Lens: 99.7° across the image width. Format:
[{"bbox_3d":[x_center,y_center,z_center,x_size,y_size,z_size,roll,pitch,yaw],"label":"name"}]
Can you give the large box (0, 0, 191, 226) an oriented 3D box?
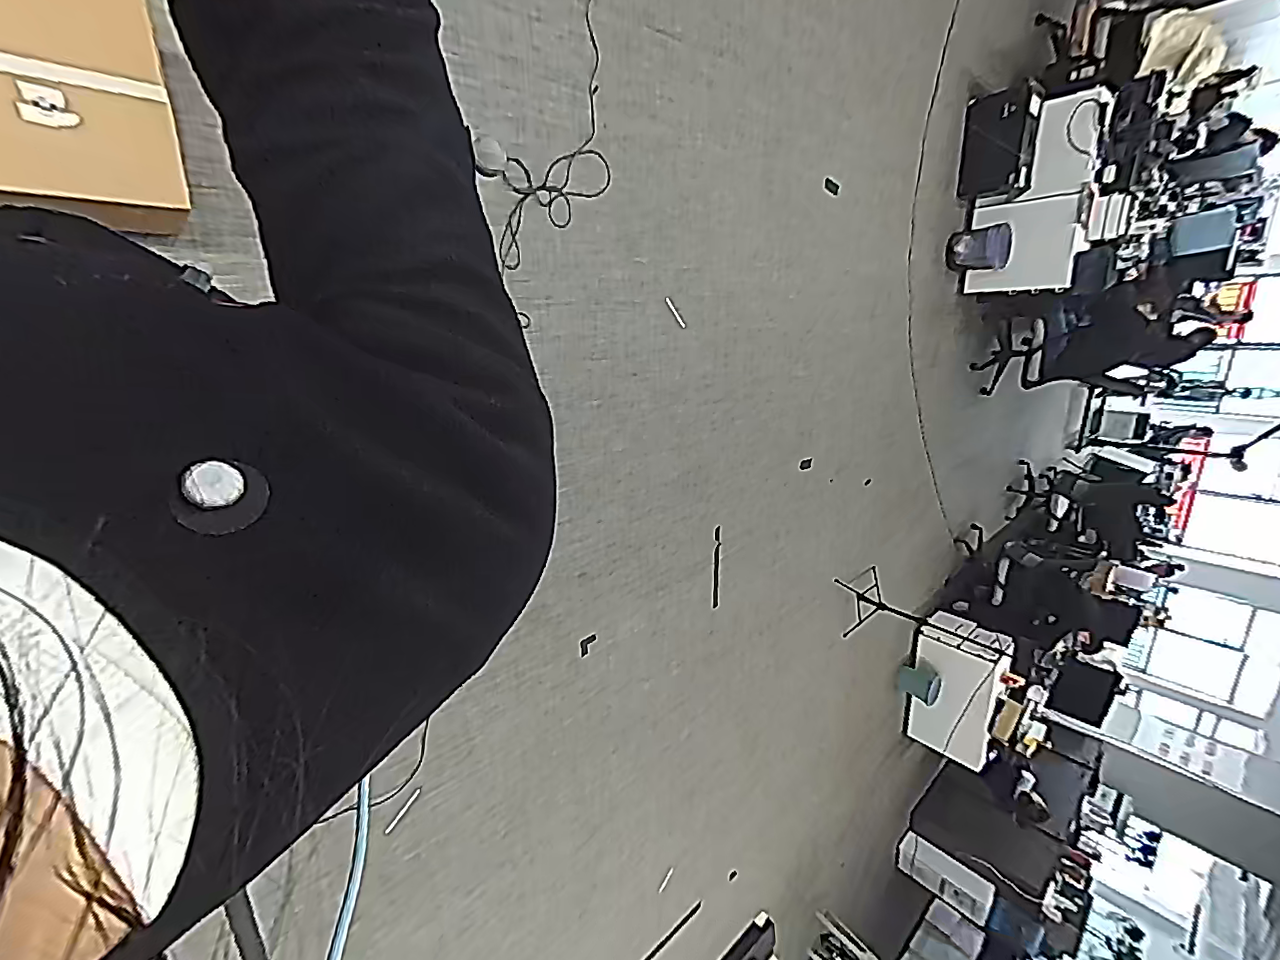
[{"bbox_3d":[-0.962,-0.578,0.795,0.408,0.320,0.320,-15,112,-40],"label":"large box"}]
